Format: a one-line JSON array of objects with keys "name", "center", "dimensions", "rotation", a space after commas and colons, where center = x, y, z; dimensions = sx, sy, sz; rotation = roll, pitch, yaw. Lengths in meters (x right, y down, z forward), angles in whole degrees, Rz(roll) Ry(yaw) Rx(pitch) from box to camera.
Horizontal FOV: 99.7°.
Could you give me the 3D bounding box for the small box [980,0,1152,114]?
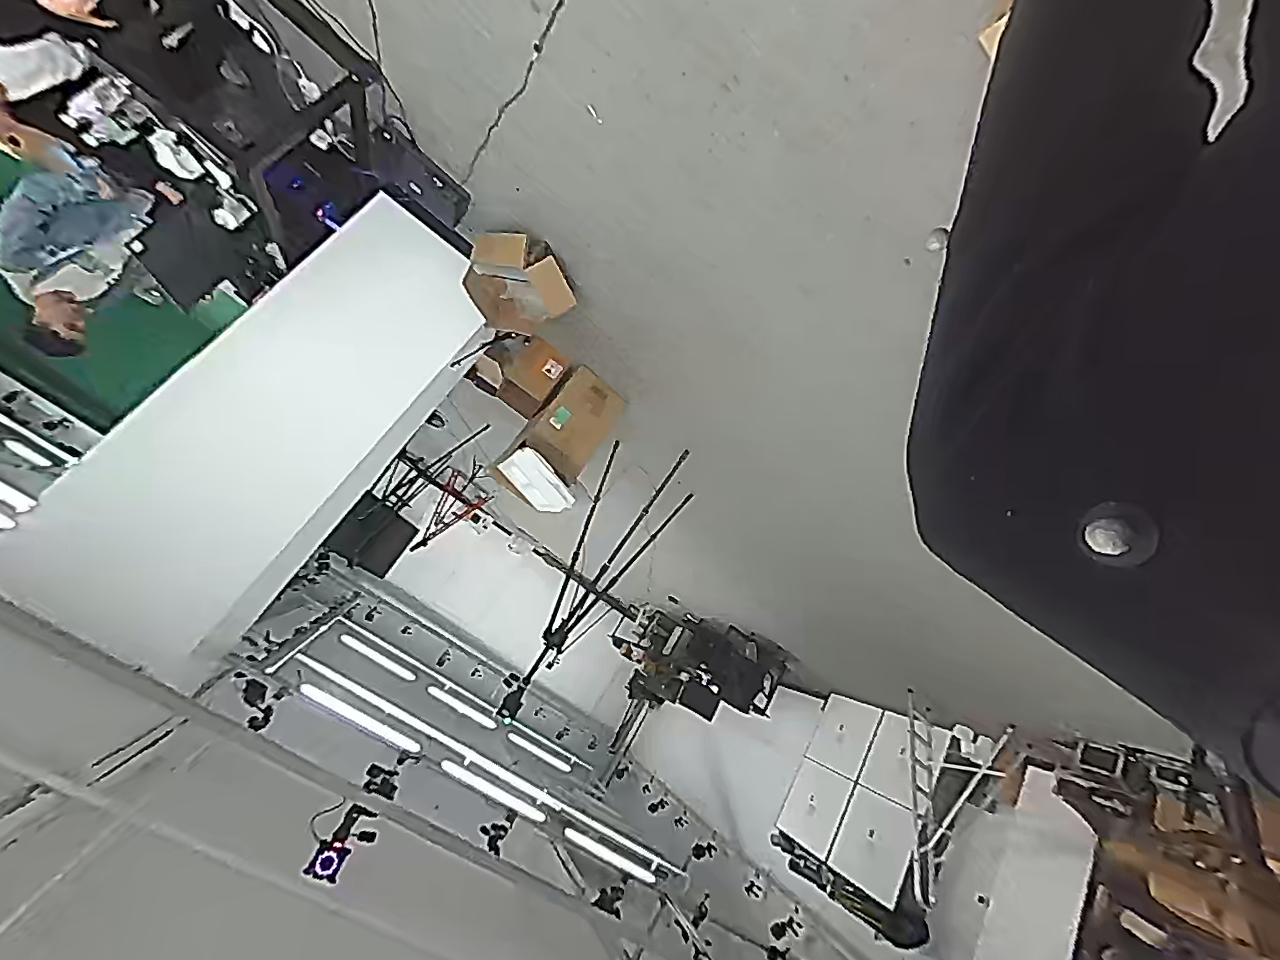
[{"name": "small box", "center": [0.722, -0.788, 0.917], "dimensions": [0.179, 0.176, 0.168], "rotation": [38, 160, -20]}]
